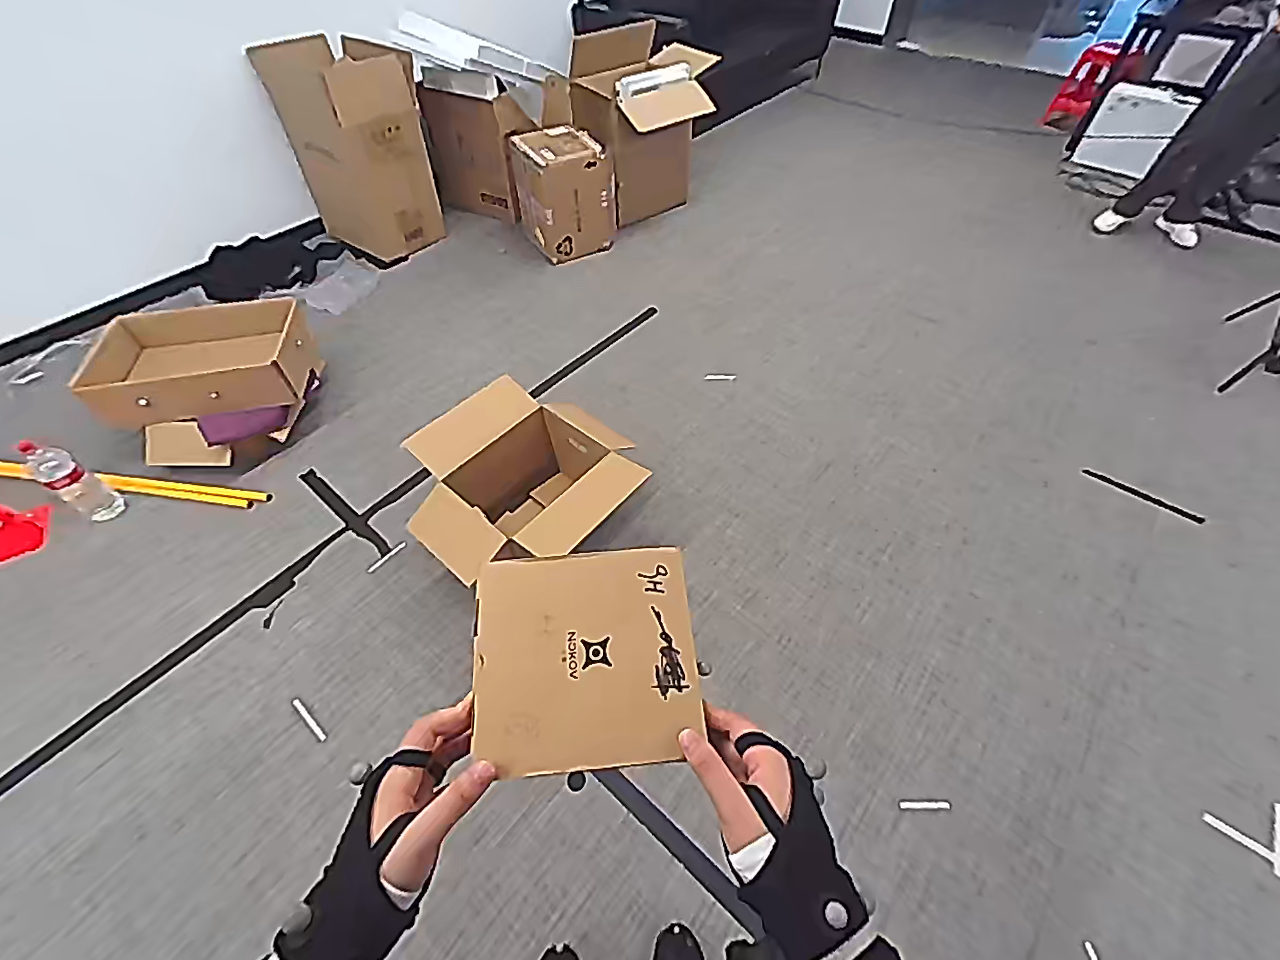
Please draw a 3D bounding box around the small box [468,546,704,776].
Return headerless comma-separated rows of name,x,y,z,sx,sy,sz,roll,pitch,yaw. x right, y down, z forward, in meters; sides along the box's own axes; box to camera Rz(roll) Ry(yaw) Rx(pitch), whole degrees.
small box,-0.045,0.174,0.500,0.179,0.176,0.168,-5,62,-3
